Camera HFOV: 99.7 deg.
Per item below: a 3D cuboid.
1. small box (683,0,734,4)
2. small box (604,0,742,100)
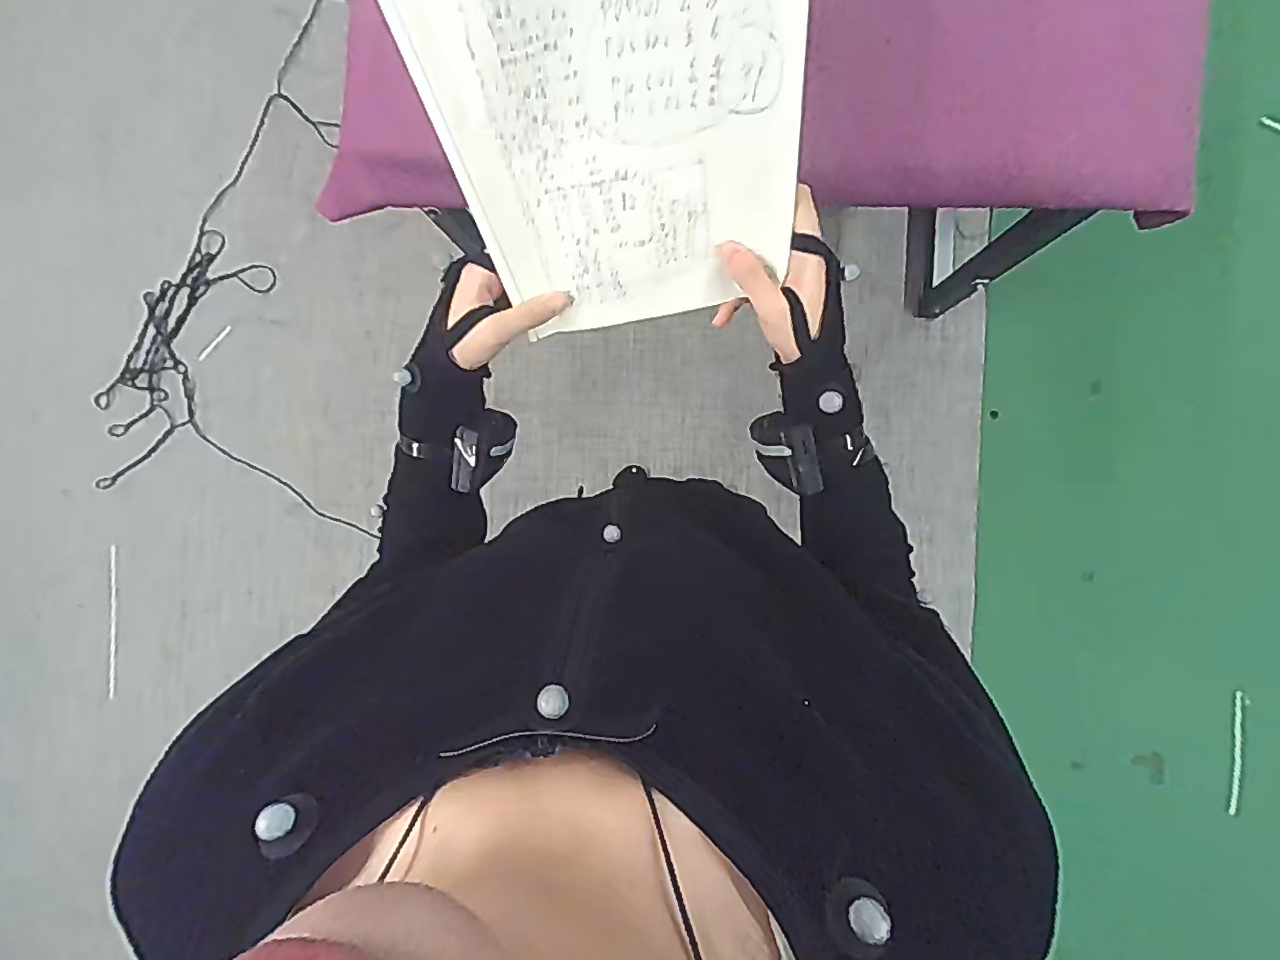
[{"bbox_3d":[0.038,-0.631,0.543,0.168,0.176,0.179,4,89,5],"label":"small box"},{"bbox_3d":[0.051,-0.636,0.708,0.168,0.176,0.179,4,91,4],"label":"small box"}]
